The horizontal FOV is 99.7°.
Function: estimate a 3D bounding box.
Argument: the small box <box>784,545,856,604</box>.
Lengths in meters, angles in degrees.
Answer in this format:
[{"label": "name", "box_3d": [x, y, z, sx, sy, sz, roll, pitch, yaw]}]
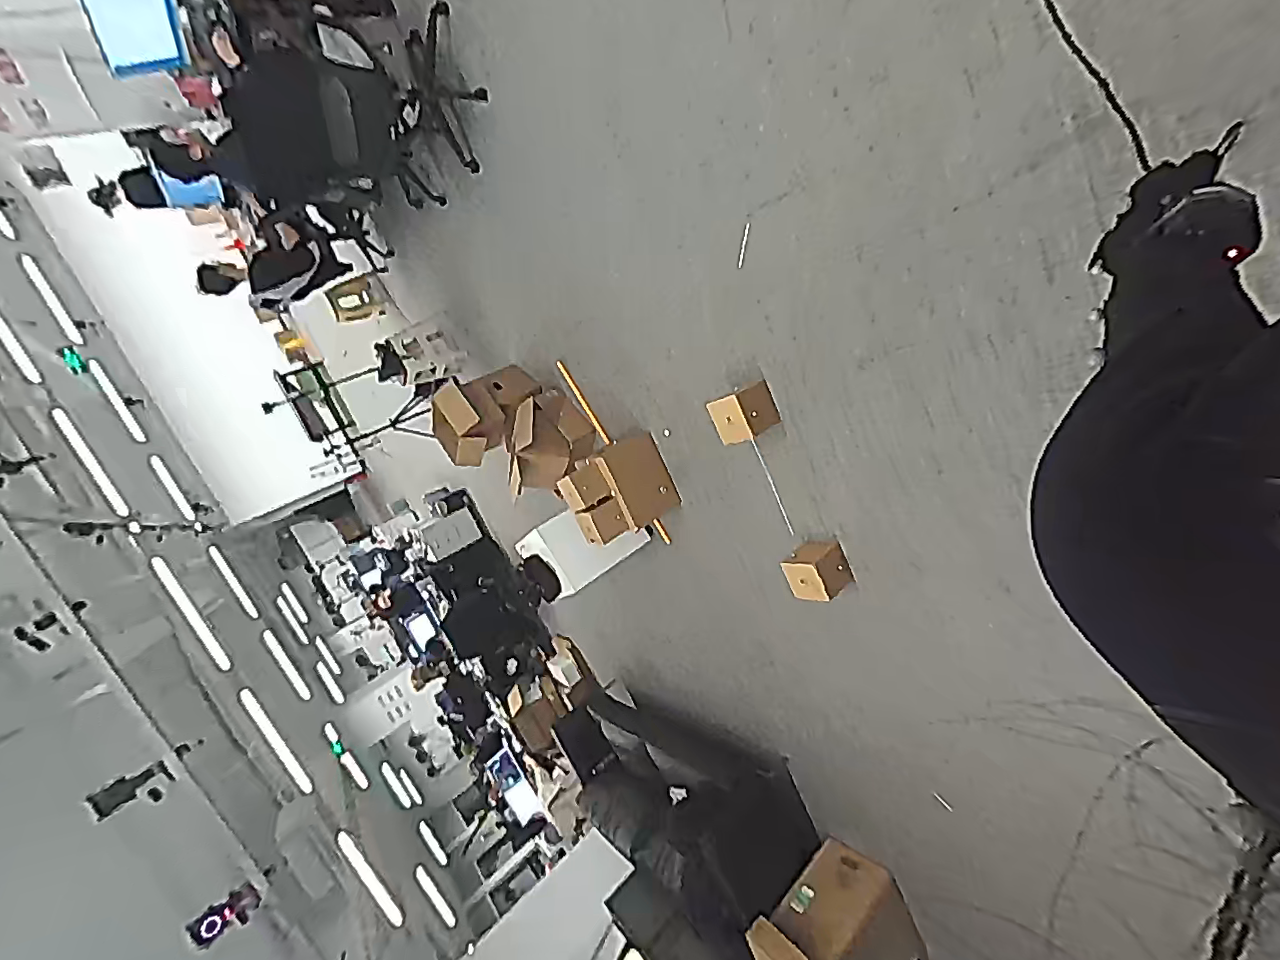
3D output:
[{"label": "small box", "box_3d": [0.705, 0.364, 2.117, 0.179, 0.176, 0.168, -11, 108, 58]}]

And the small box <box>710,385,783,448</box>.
[{"label": "small box", "box_3d": [0.398, -0.241, 2.018, 0.168, 0.176, 0.179, -11, 109, 58]}]
